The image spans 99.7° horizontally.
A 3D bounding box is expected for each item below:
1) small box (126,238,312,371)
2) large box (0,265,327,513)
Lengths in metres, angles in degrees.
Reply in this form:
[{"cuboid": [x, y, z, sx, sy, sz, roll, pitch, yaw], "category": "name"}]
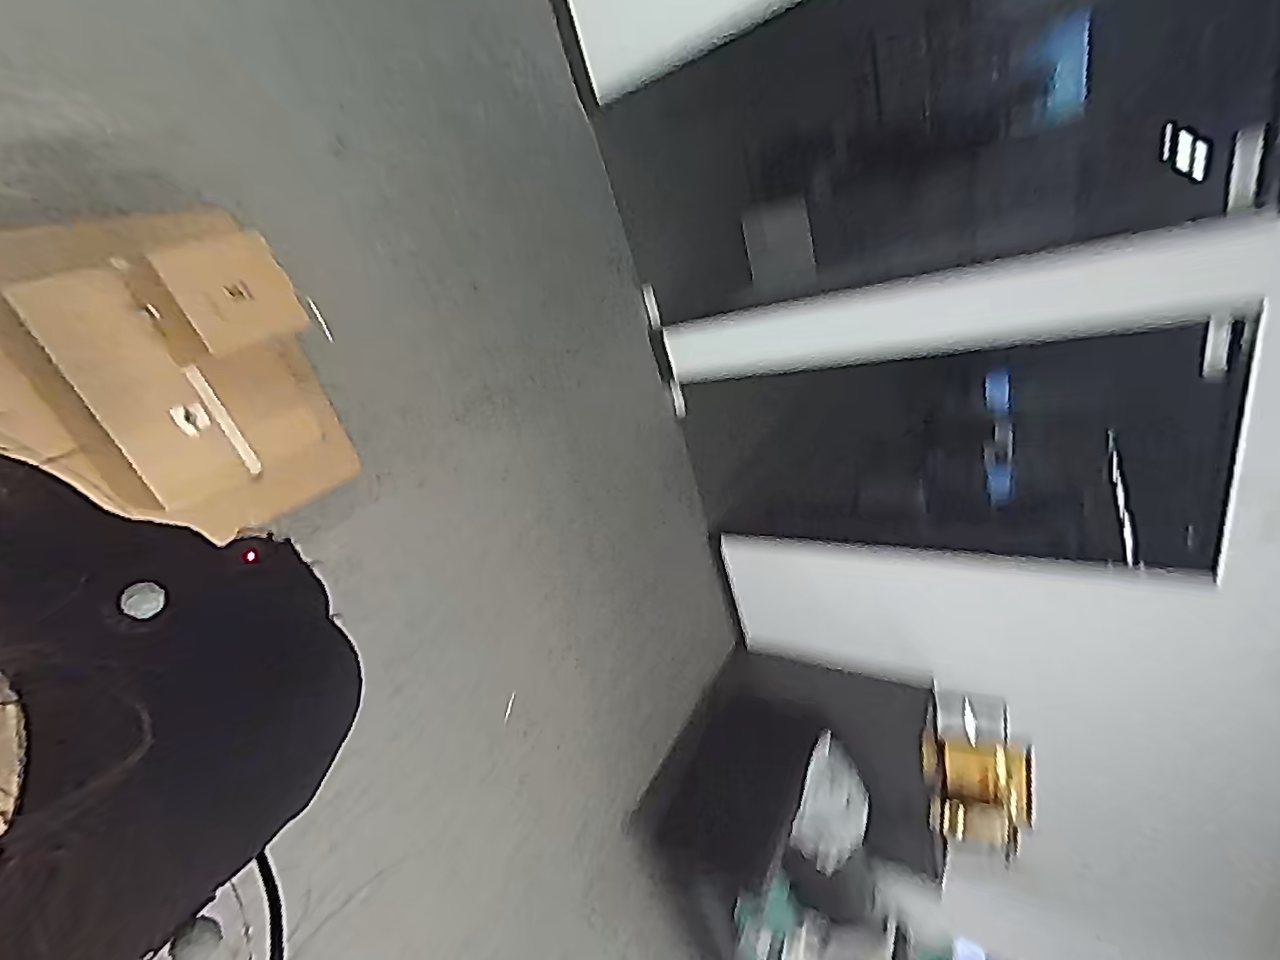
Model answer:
[{"cuboid": [-0.730, -0.303, 0.944, 0.179, 0.176, 0.168, -45, 125, -44], "category": "small box"}, {"cuboid": [-0.935, -0.186, 1.077, 0.320, 0.320, 0.408, -43, 125, -44], "category": "large box"}]
